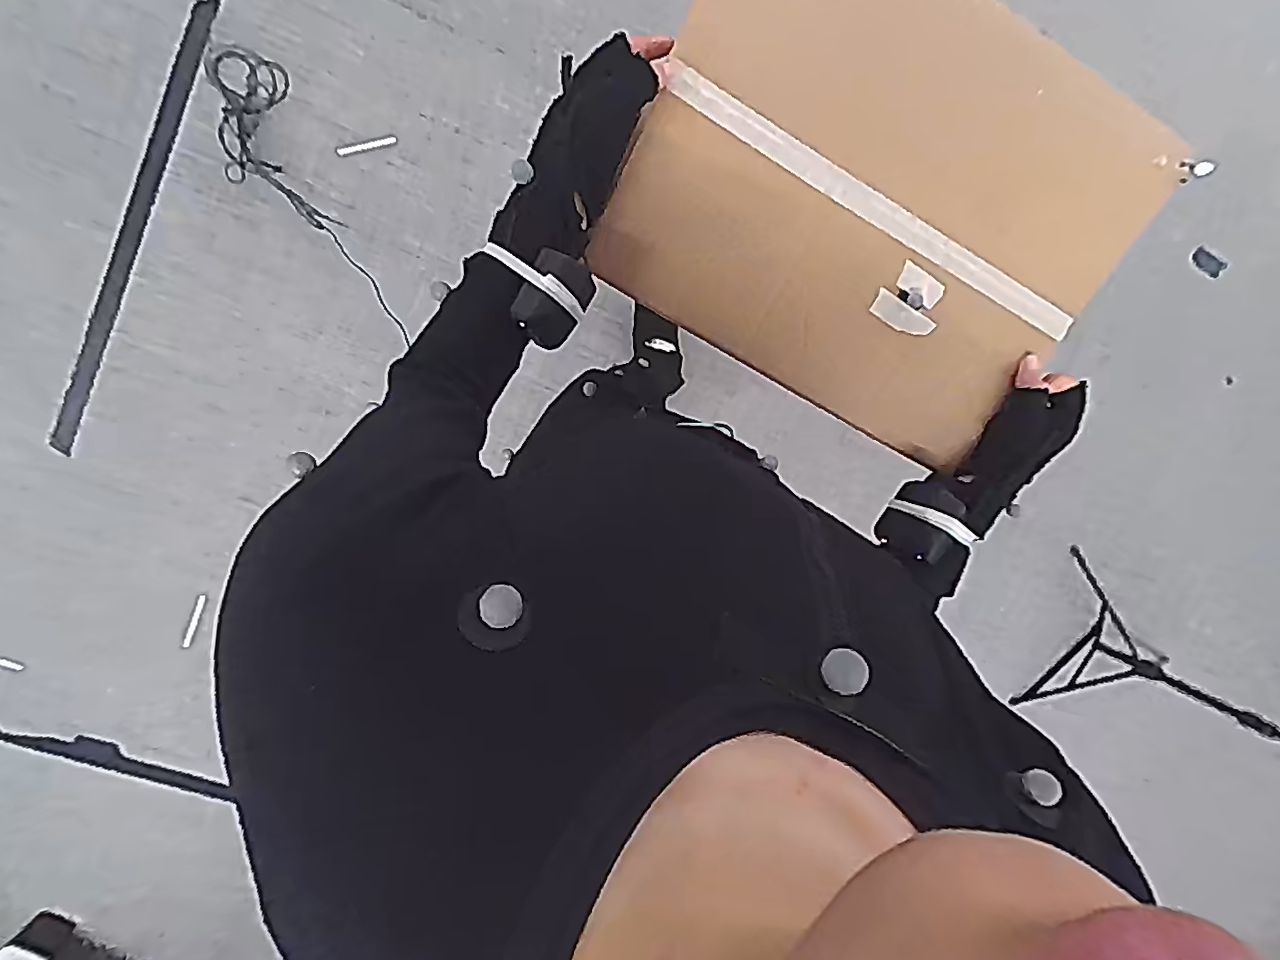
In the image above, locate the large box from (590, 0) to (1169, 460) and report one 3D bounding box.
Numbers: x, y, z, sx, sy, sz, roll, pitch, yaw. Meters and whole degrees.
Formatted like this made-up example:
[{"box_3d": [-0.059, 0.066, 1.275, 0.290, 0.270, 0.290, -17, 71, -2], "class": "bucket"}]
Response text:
[{"box_3d": [0.195, -0.280, 0.601, 0.408, 0.320, 0.320, 28, 107, -10], "class": "large box"}]
